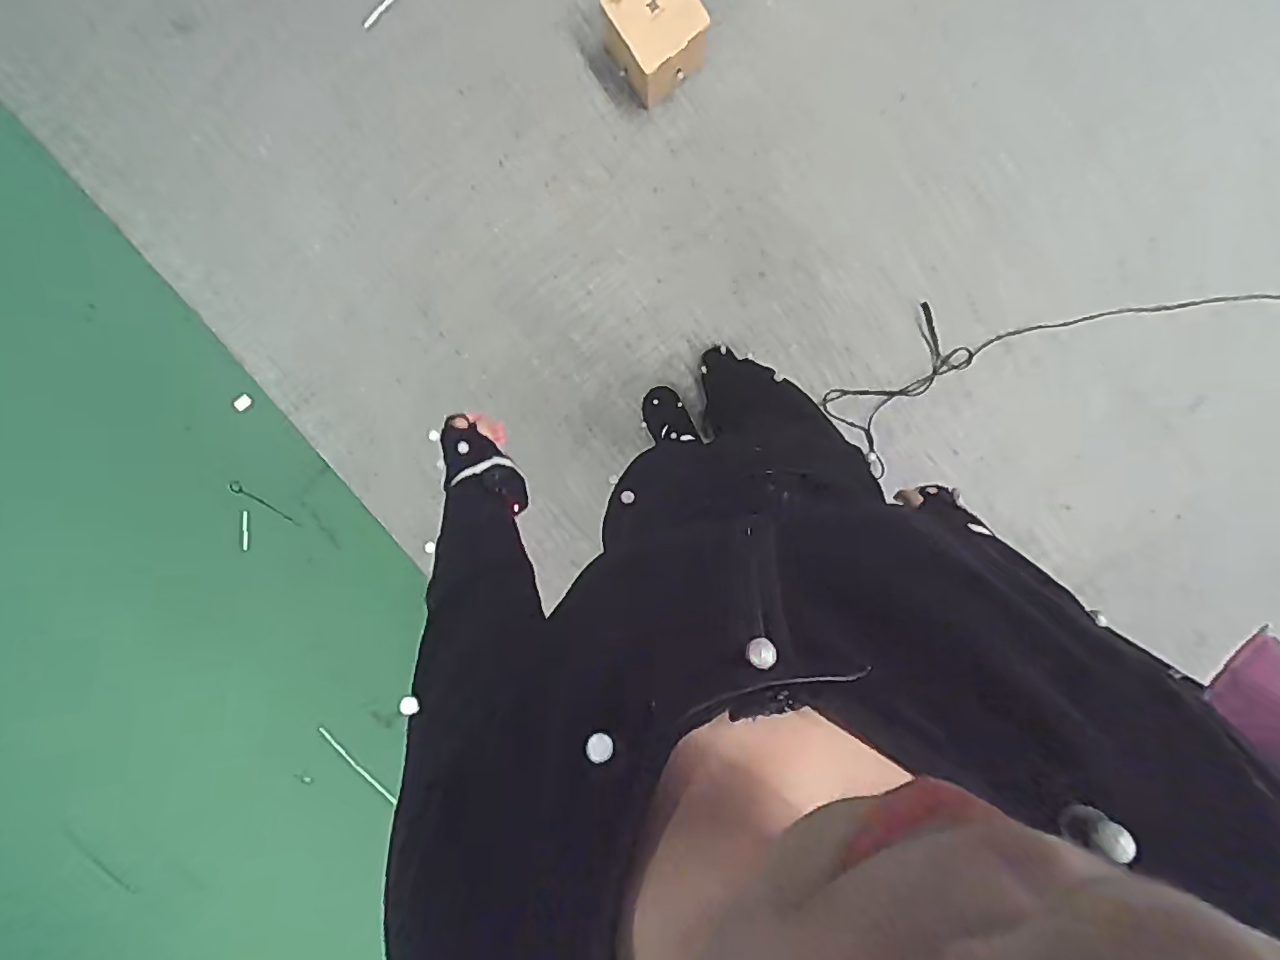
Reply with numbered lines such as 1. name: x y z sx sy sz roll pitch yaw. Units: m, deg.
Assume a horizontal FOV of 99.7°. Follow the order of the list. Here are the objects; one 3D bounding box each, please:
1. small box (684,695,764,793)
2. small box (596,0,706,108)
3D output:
1. small box: 0.237 0.760 1.580 0.168 0.176 0.179 -28 101 9
2. small box: 0.026 -0.966 1.193 0.168 0.176 0.179 -35 100 9
